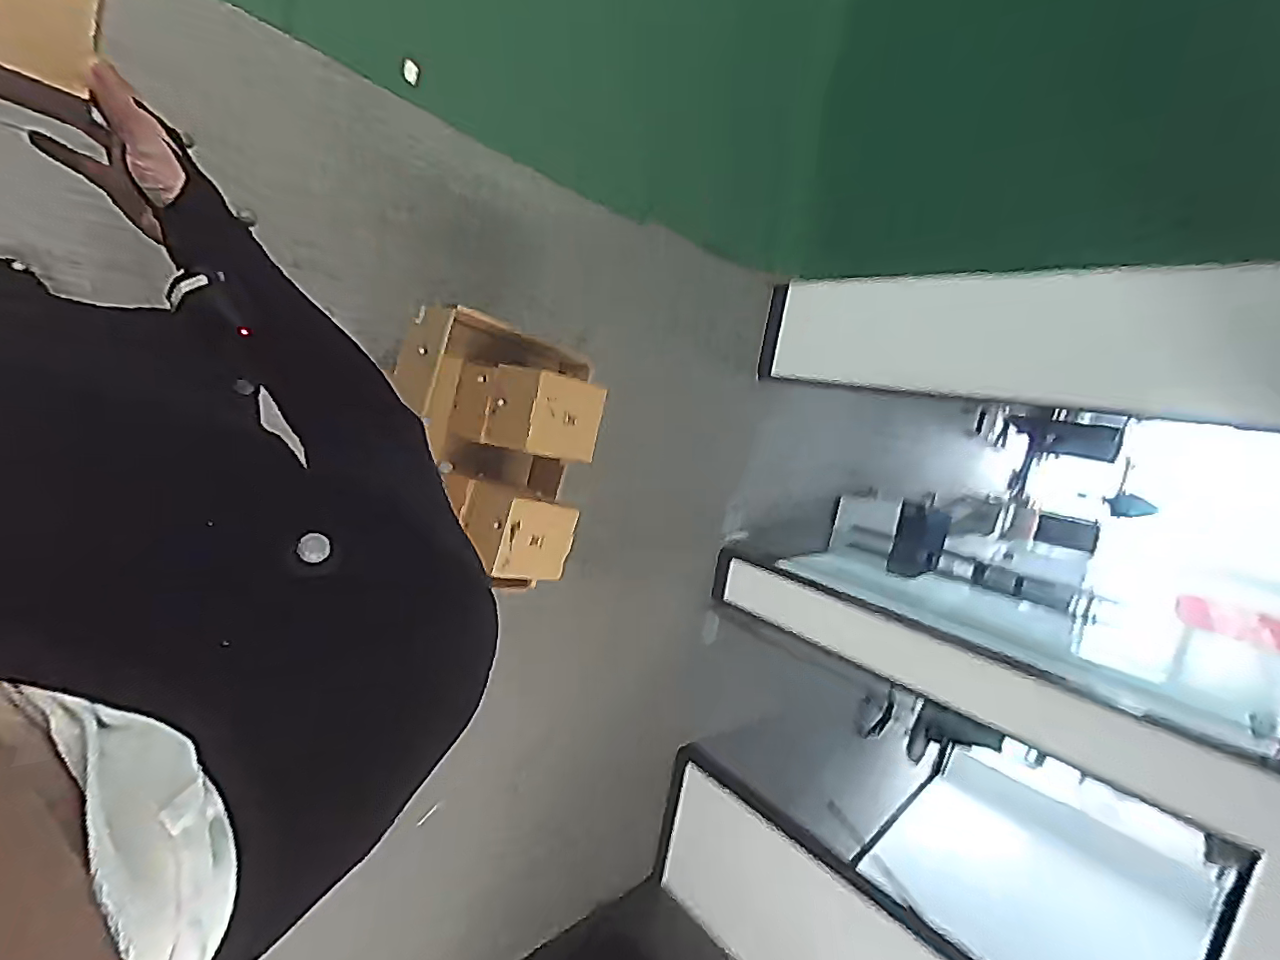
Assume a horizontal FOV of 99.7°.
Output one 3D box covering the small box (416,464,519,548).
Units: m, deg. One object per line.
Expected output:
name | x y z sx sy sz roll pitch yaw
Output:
small box | -0.414 0.067 1.316 0.179 0.176 0.168 13 94 -46

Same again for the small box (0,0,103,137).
small box | -0.490 -0.374 0.373 0.168 0.176 0.179 5 104 -47

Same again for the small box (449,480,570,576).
small box | -0.294 0.106 1.210 0.179 0.176 0.168 16 92 -47

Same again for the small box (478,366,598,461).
small box | -0.225 -0.148 1.189 0.179 0.176 0.168 9 97 -47
